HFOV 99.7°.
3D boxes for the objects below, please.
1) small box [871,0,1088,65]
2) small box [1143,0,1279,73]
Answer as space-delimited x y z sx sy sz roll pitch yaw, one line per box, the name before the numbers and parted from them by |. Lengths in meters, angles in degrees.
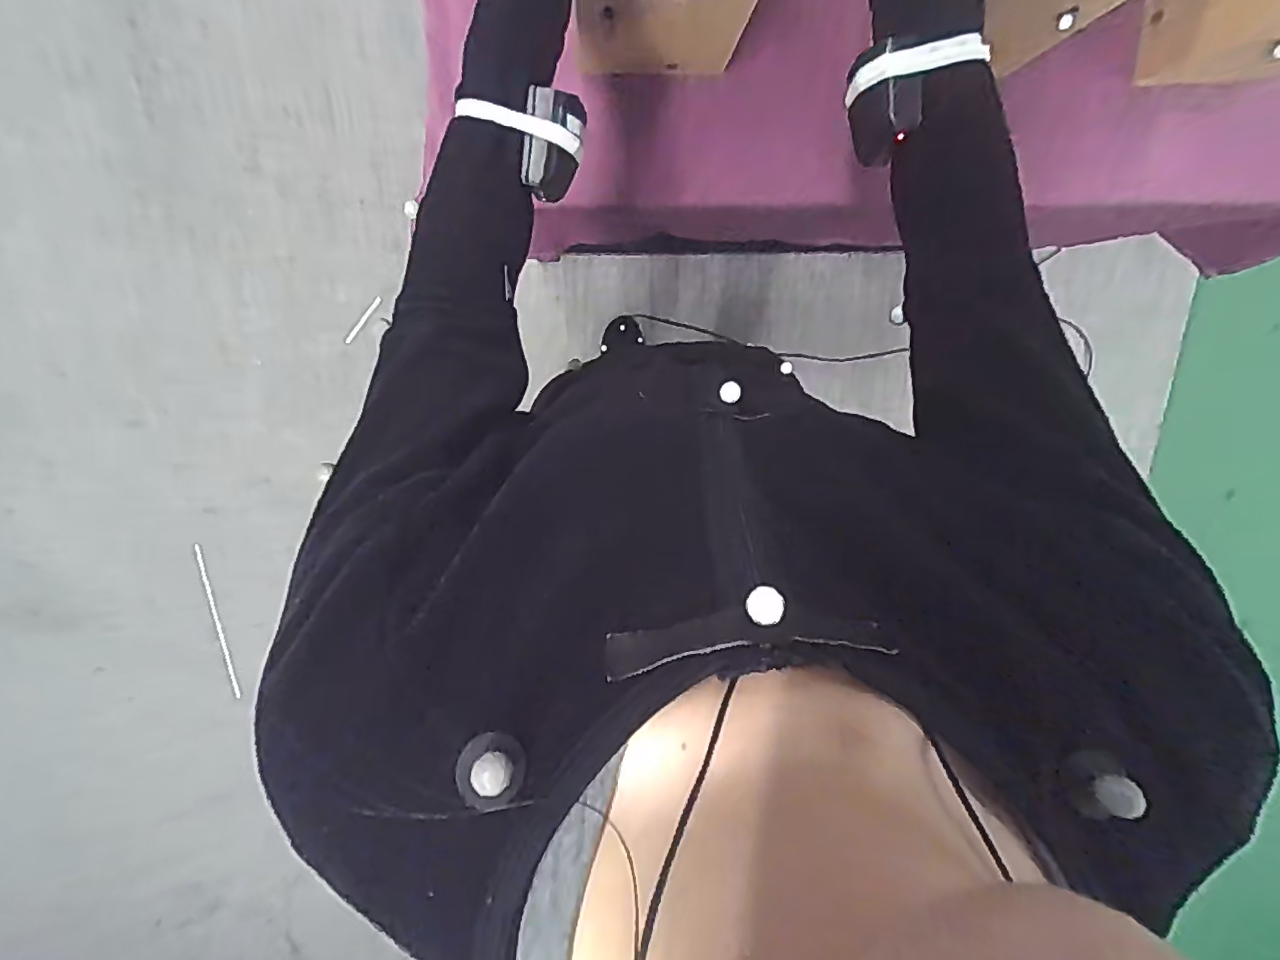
small box | 0.354 -0.545 0.536 0.179 0.176 0.168 -1 105 -4
small box | 0.681 -0.548 0.553 0.179 0.176 0.168 -4 106 -2
